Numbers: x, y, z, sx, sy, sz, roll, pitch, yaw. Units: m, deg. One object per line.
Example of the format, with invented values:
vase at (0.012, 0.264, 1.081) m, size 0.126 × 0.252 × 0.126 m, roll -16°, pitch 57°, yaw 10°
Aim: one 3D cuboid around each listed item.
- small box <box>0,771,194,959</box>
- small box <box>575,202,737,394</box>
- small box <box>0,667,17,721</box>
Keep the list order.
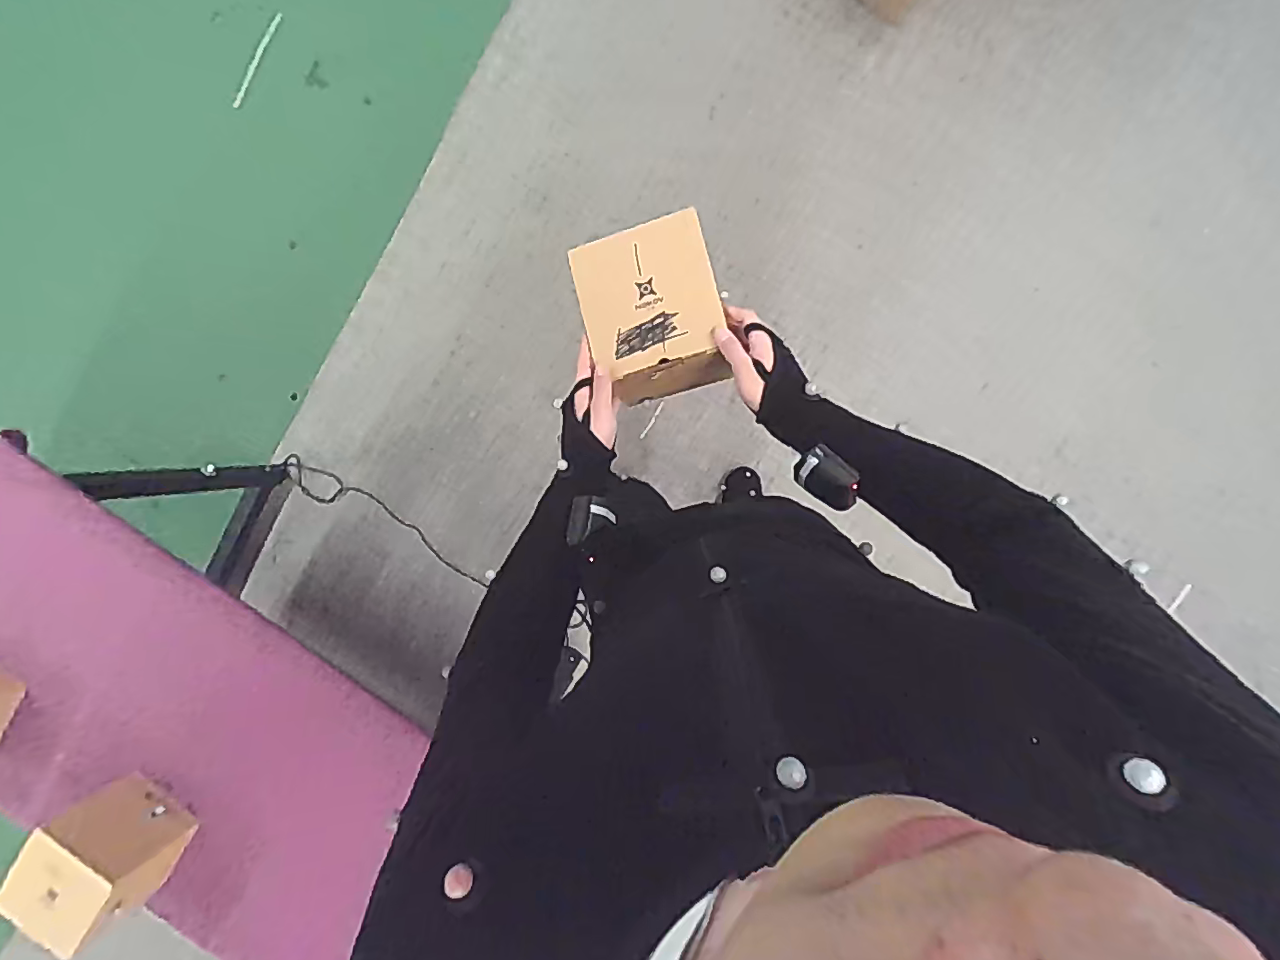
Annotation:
small box at (-0.959, 0.673, 0.962) m, size 0.168 × 0.176 × 0.179 m, roll 35°, pitch 95°, yaw 2°
small box at (0.031, -0.223, 0.719) m, size 0.168 × 0.176 × 0.179 m, roll -14°, pitch 84°, yaw 10°
small box at (-1.320, 0.429, 0.984) m, size 0.168 × 0.176 × 0.179 m, roll 33°, pitch 96°, yaw 2°
